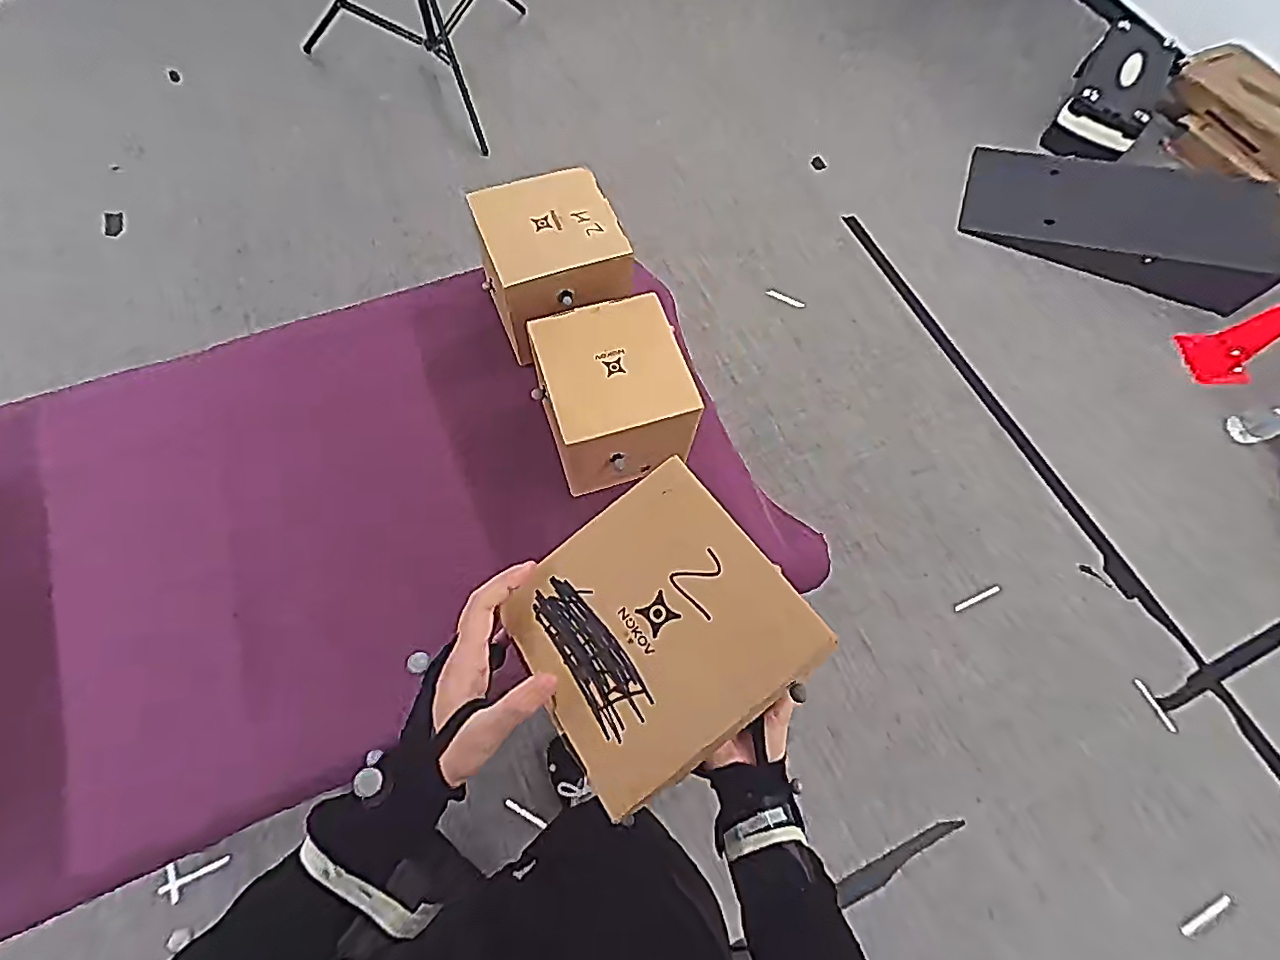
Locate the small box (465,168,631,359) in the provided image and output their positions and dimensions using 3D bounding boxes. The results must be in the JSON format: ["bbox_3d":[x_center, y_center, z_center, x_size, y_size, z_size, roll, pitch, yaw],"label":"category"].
[{"bbox_3d":[-0.124,-0.298,0.769,0.179,0.176,0.168,-20,72,-12],"label":"small box"}]

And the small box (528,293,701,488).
[{"bbox_3d":[-0.035,-0.104,0.704,0.168,0.176,0.179,-17,69,-10],"label":"small box"}]
